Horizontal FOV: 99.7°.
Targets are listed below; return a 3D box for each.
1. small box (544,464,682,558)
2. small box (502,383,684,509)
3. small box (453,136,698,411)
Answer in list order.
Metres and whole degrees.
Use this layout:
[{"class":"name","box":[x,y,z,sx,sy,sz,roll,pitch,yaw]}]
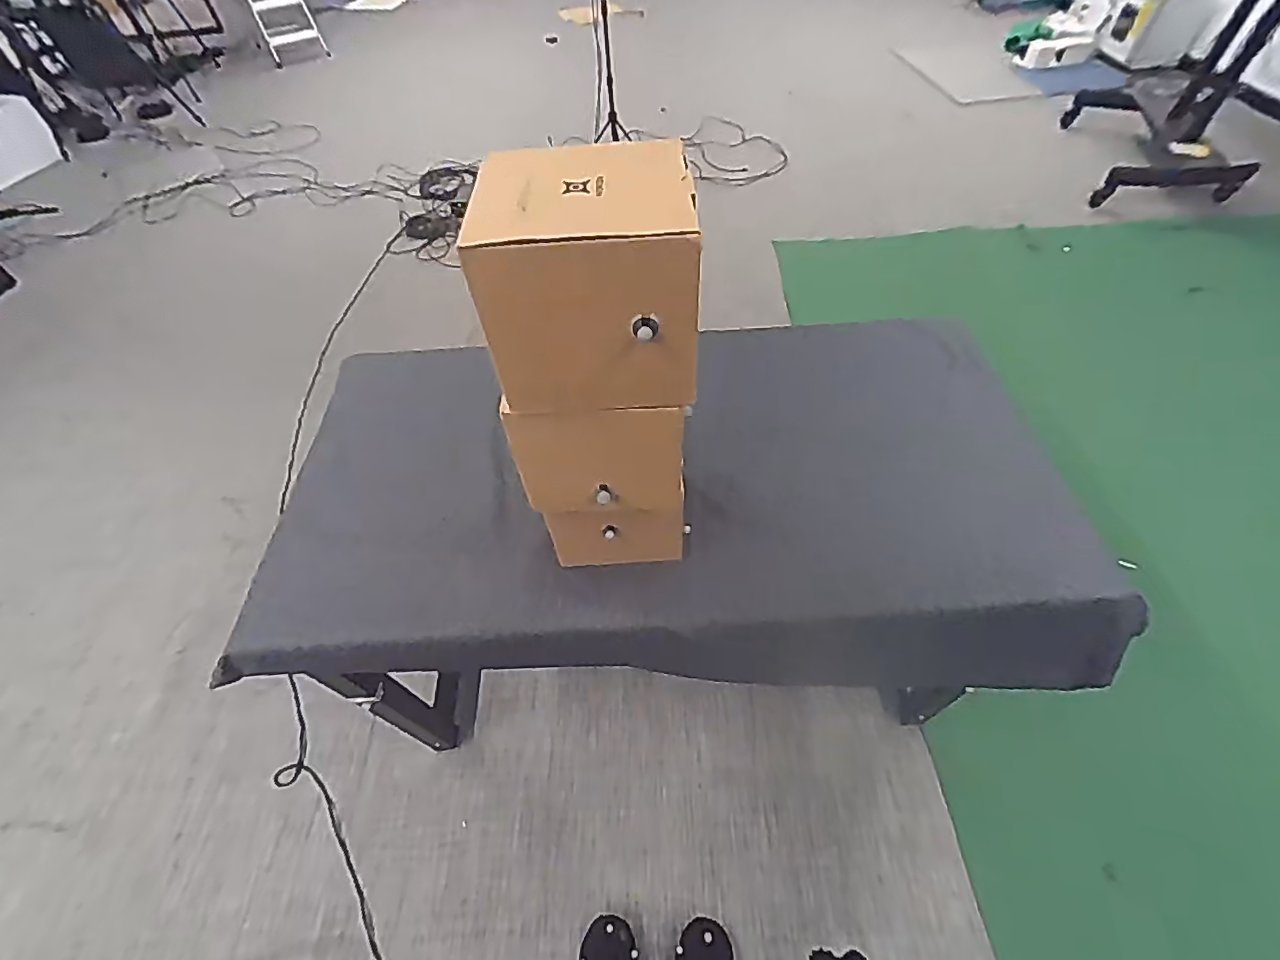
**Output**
[{"class":"small box","box":[-0.034,-0.002,0.763,0.179,0.176,0.168,-4,53,2]},{"class":"small box","box":[-0.045,-0.081,0.623,0.179,0.176,0.168,-5,54,1]},{"class":"small box","box":[-0.045,-0.181,0.490,0.179,0.176,0.168,-5,52,2]}]
